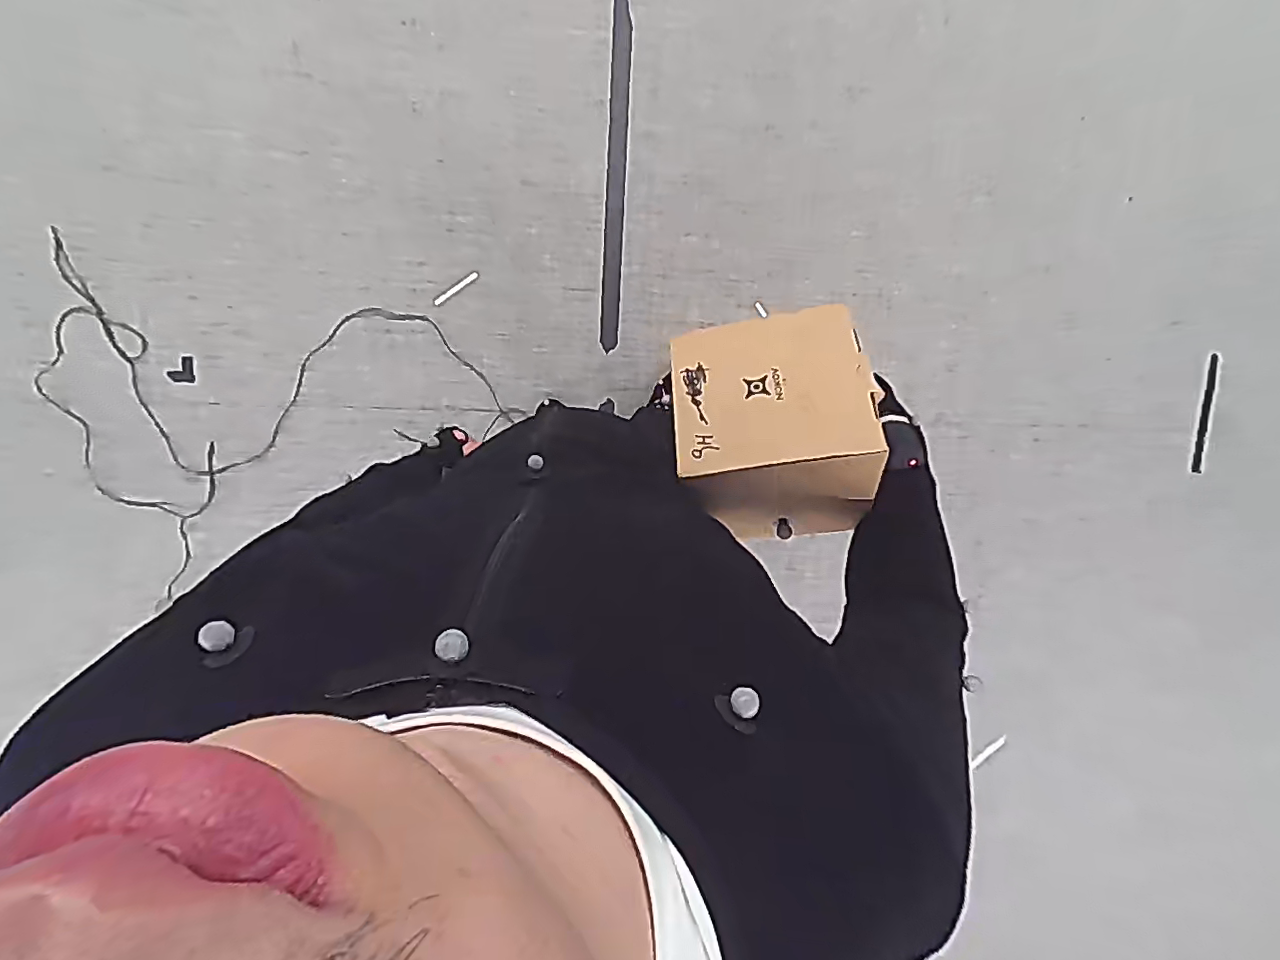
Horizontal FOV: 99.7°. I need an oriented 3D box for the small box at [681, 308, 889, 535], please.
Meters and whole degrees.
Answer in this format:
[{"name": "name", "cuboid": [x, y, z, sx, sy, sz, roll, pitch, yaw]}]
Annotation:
[{"name": "small box", "cuboid": [0.142, -0.051, 0.576, 0.179, 0.176, 0.168, -6, 61, 11]}]
